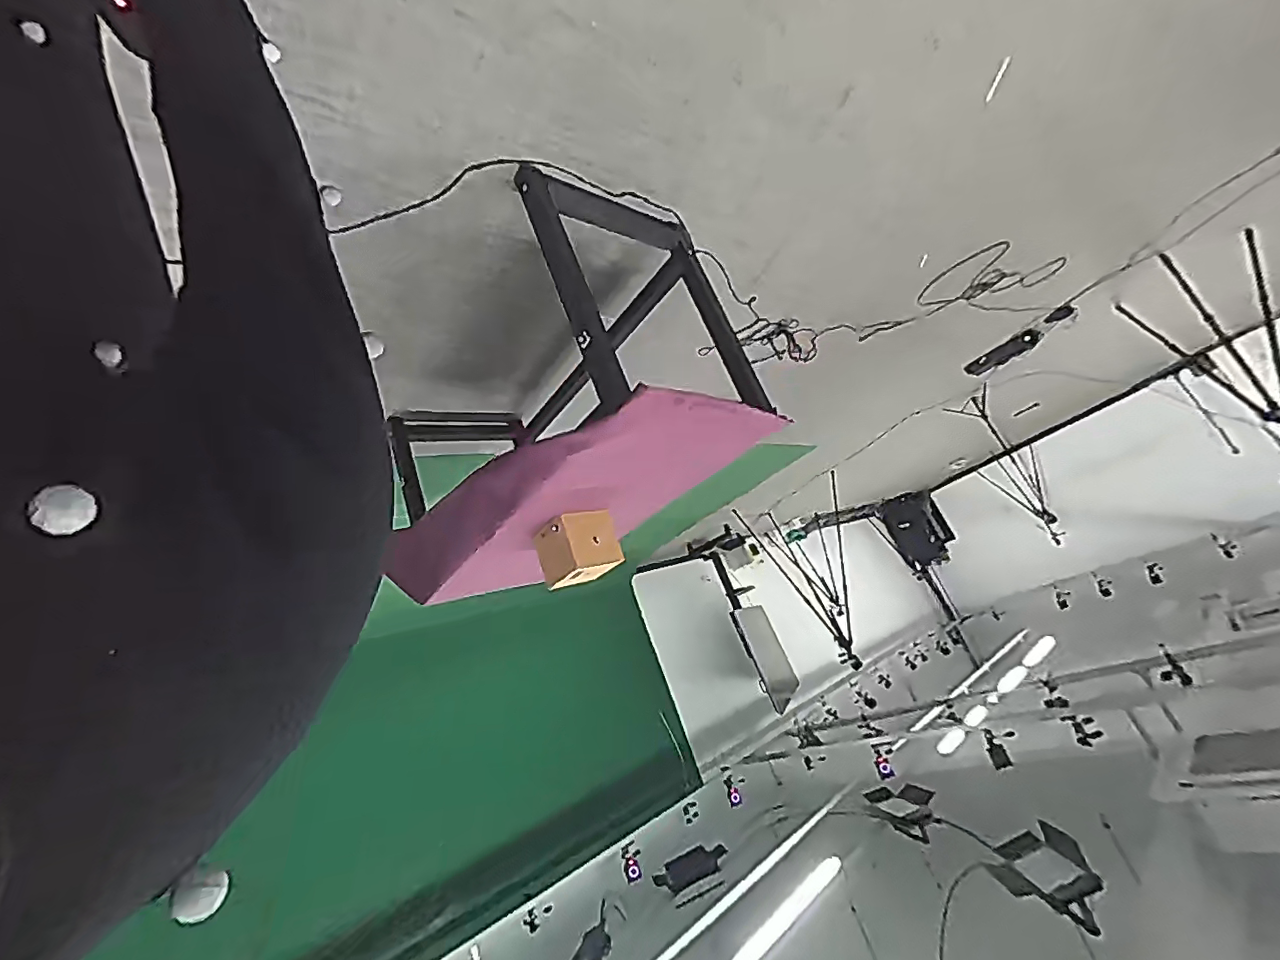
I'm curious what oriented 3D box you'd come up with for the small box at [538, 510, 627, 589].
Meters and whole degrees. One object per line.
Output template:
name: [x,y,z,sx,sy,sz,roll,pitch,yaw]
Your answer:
small box: [-0.175,0.201,1.585,0.179,0.176,0.168,-4,154,-44]
